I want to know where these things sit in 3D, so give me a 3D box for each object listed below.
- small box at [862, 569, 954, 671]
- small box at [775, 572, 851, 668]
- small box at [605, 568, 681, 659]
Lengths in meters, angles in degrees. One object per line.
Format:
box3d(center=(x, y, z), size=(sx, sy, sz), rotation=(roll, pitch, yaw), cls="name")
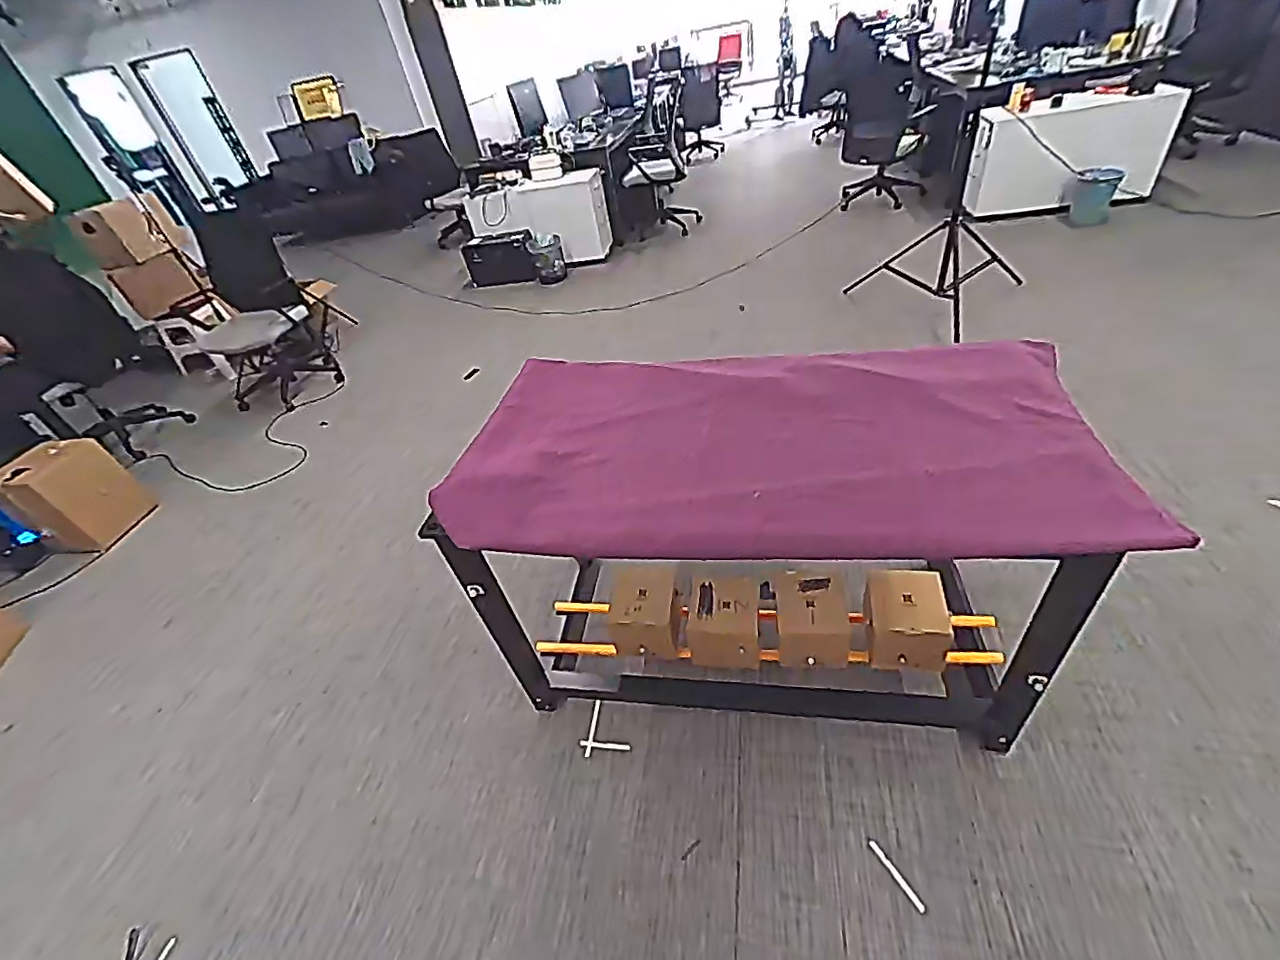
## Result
box3d(center=(0.647, 0.342, 1.328), size=(0.168, 0.176, 0.179), rotation=(-1, 43, 16), cls="small box")
box3d(center=(0.432, 0.354, 1.374), size=(0.168, 0.176, 0.179), rotation=(-3, 44, 13), cls="small box")
box3d(center=(0.016, 0.361, 1.471), size=(0.168, 0.176, 0.179), rotation=(-1, 43, 14), cls="small box")
